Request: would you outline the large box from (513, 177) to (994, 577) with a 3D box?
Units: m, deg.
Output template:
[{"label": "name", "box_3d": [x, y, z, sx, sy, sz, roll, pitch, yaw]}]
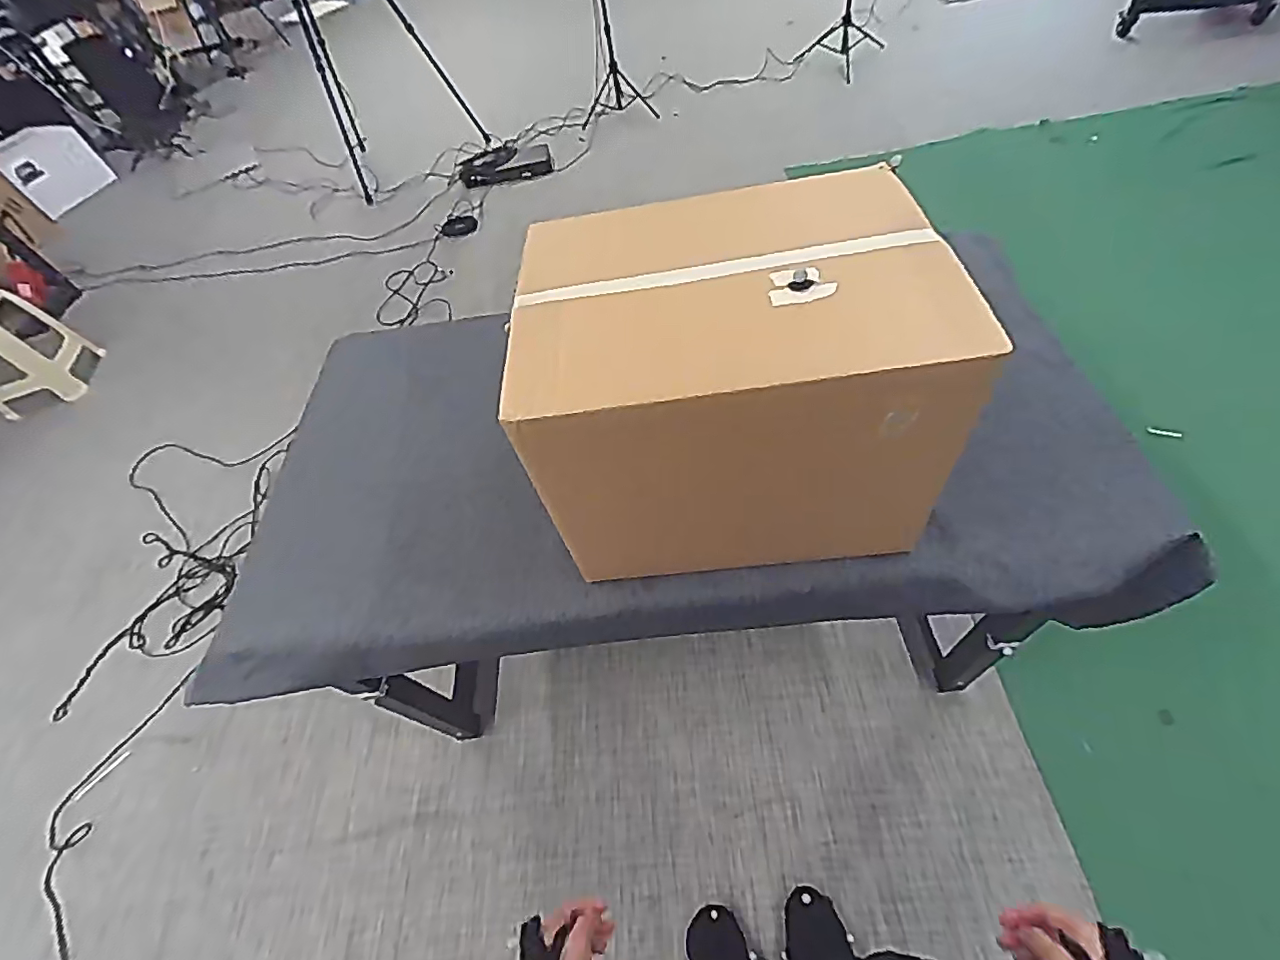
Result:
[{"label": "large box", "box_3d": [0.098, -0.106, 0.648, 0.408, 0.320, 0.320, -7, 53, 5]}]
